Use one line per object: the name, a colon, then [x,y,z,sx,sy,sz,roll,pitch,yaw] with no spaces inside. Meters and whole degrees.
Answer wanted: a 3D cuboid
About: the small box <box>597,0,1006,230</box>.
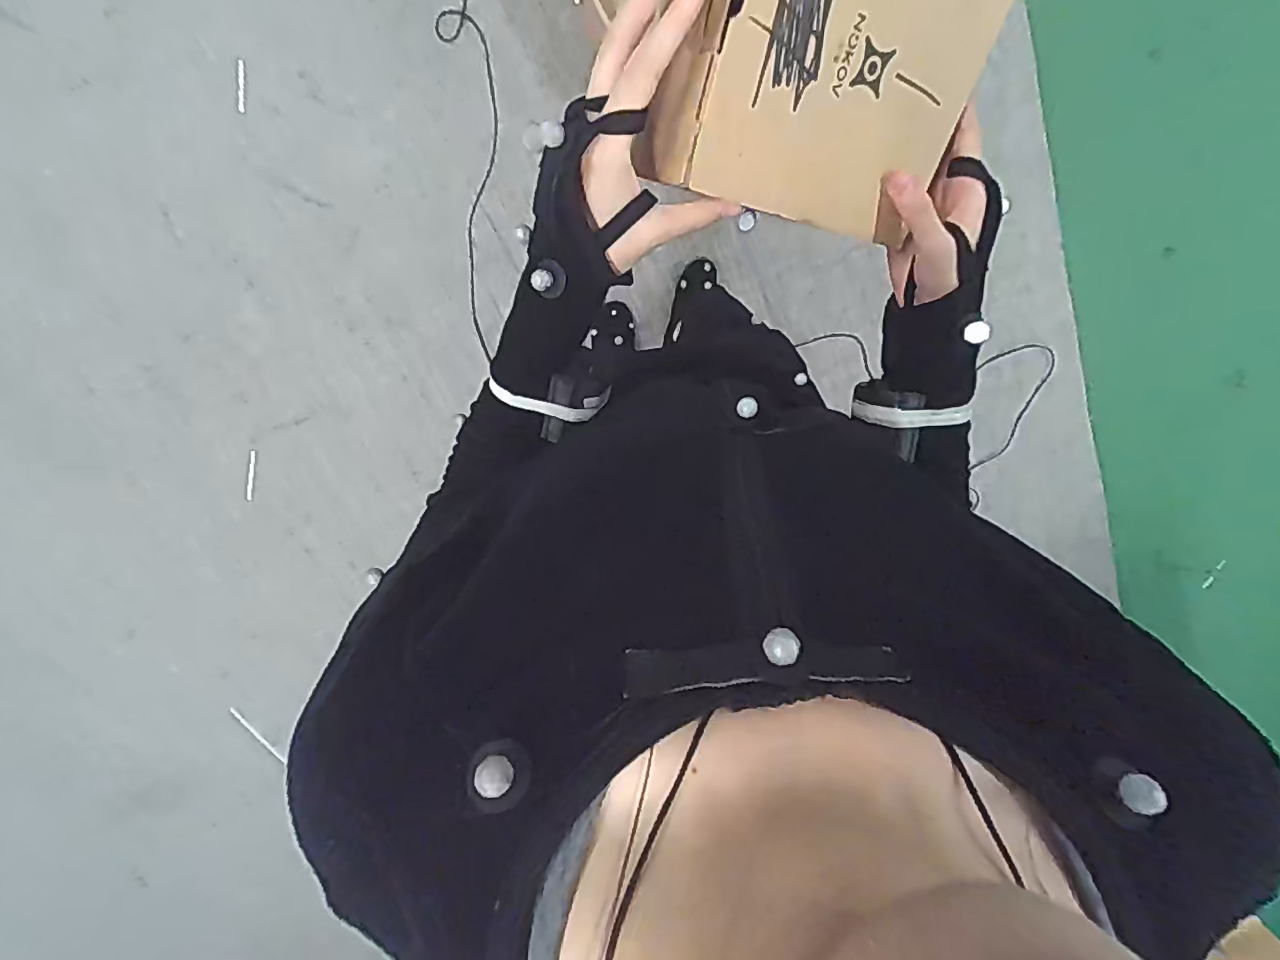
small box: [0.088,-0.277,0.344,0.179,0.176,0.168,0,122,-27]
